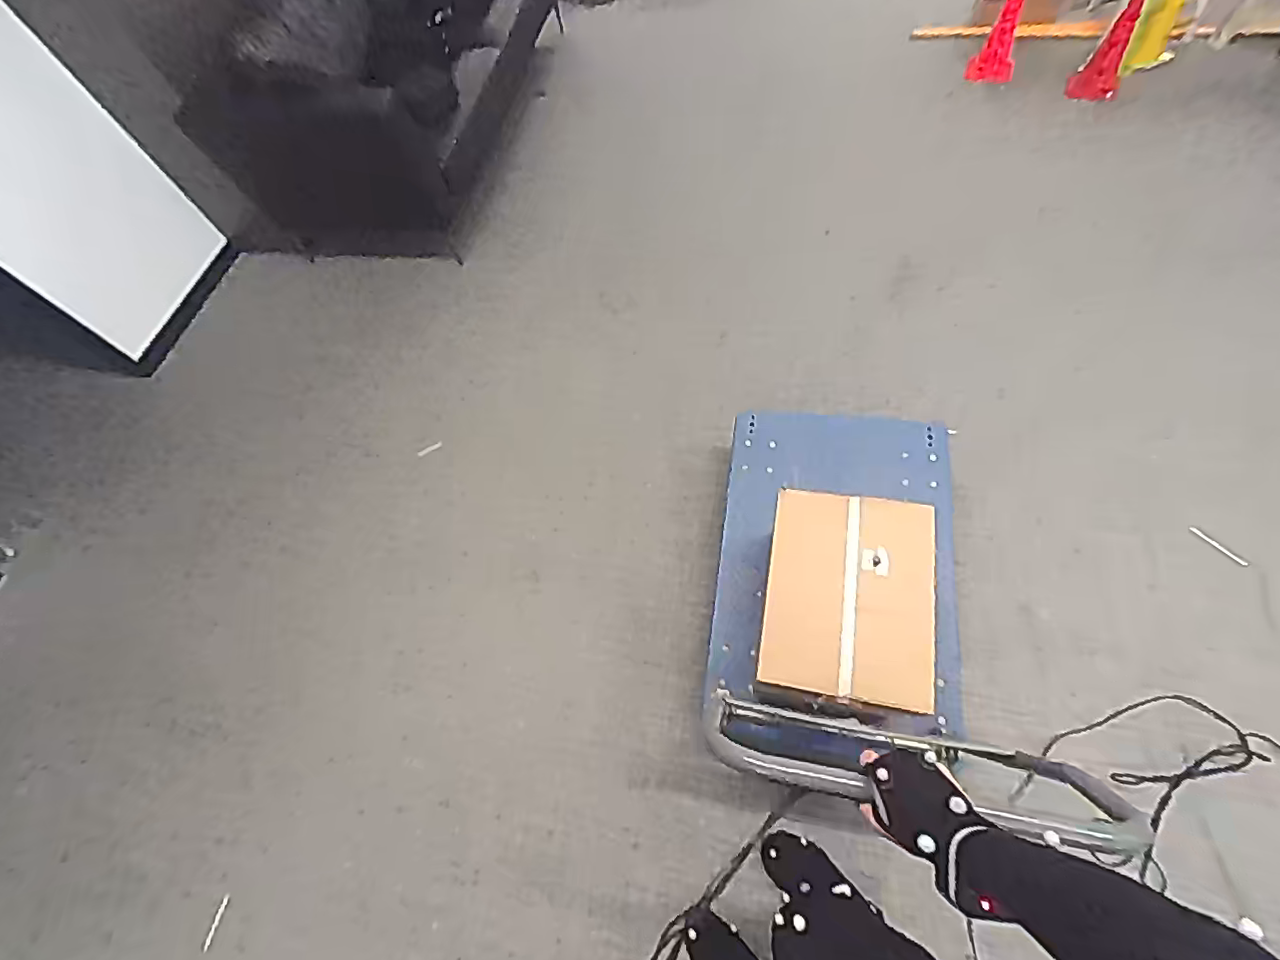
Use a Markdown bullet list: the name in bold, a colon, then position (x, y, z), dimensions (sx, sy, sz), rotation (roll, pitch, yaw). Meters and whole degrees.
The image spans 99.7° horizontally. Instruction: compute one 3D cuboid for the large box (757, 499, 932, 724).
- **large box**: position (0.437, 0.299, 1.210), dimensions (0.320, 0.320, 0.408), rotation (7, 66, 13)
